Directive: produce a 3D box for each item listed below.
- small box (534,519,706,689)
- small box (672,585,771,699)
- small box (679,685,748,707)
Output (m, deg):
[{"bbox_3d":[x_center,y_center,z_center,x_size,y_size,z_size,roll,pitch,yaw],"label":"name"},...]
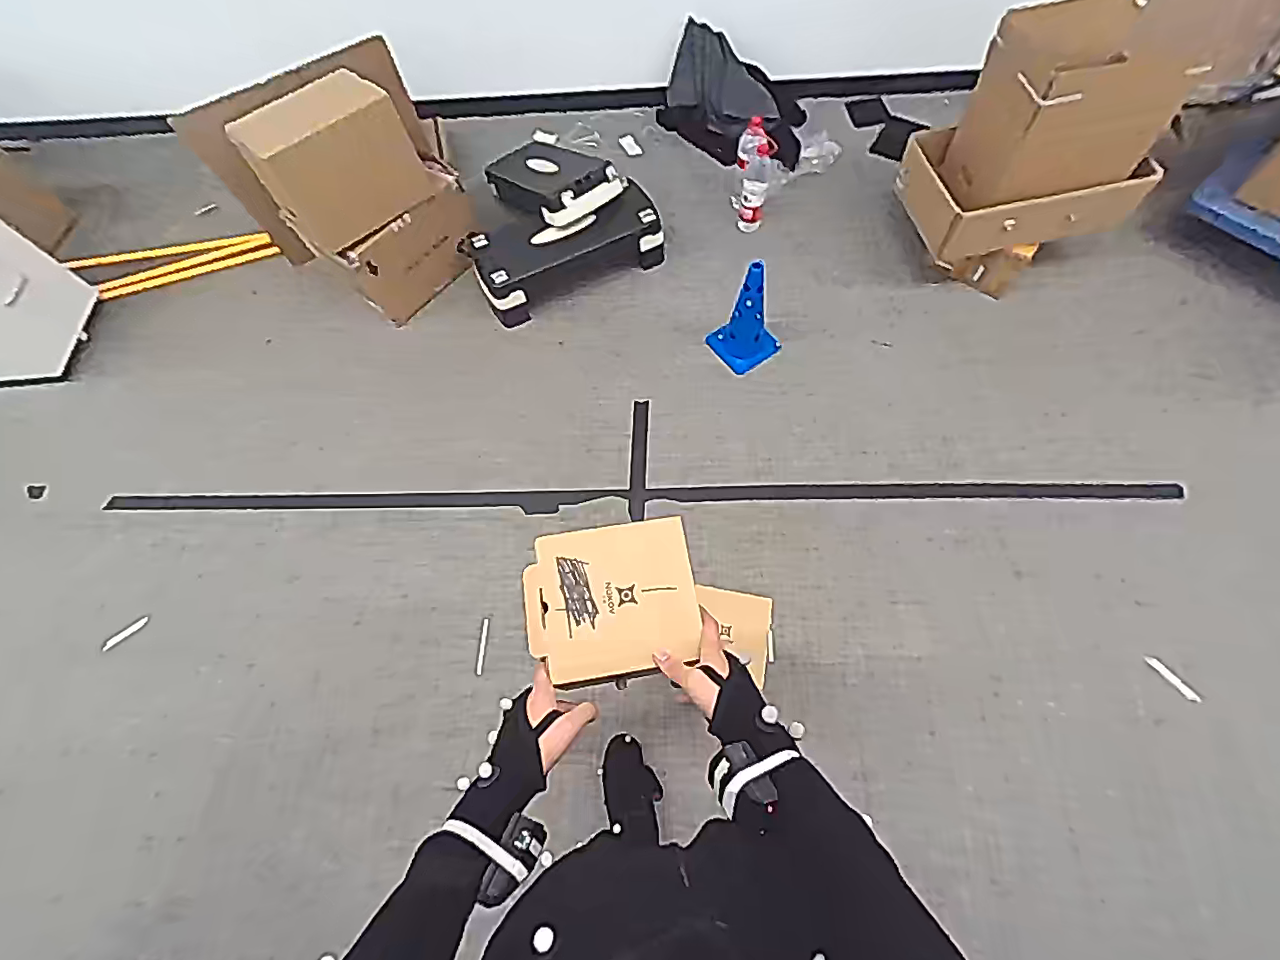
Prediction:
[{"bbox_3d":[-0.028,0.162,0.676,0.179,0.176,0.168,-8,69,-6],"label":"small box"},{"bbox_3d":[0.158,0.332,1.093,0.168,0.176,0.179,10,67,8],"label":"small box"},{"bbox_3d":[0.188,0.481,1.386,0.168,0.176,0.179,4,66,5],"label":"small box"}]
